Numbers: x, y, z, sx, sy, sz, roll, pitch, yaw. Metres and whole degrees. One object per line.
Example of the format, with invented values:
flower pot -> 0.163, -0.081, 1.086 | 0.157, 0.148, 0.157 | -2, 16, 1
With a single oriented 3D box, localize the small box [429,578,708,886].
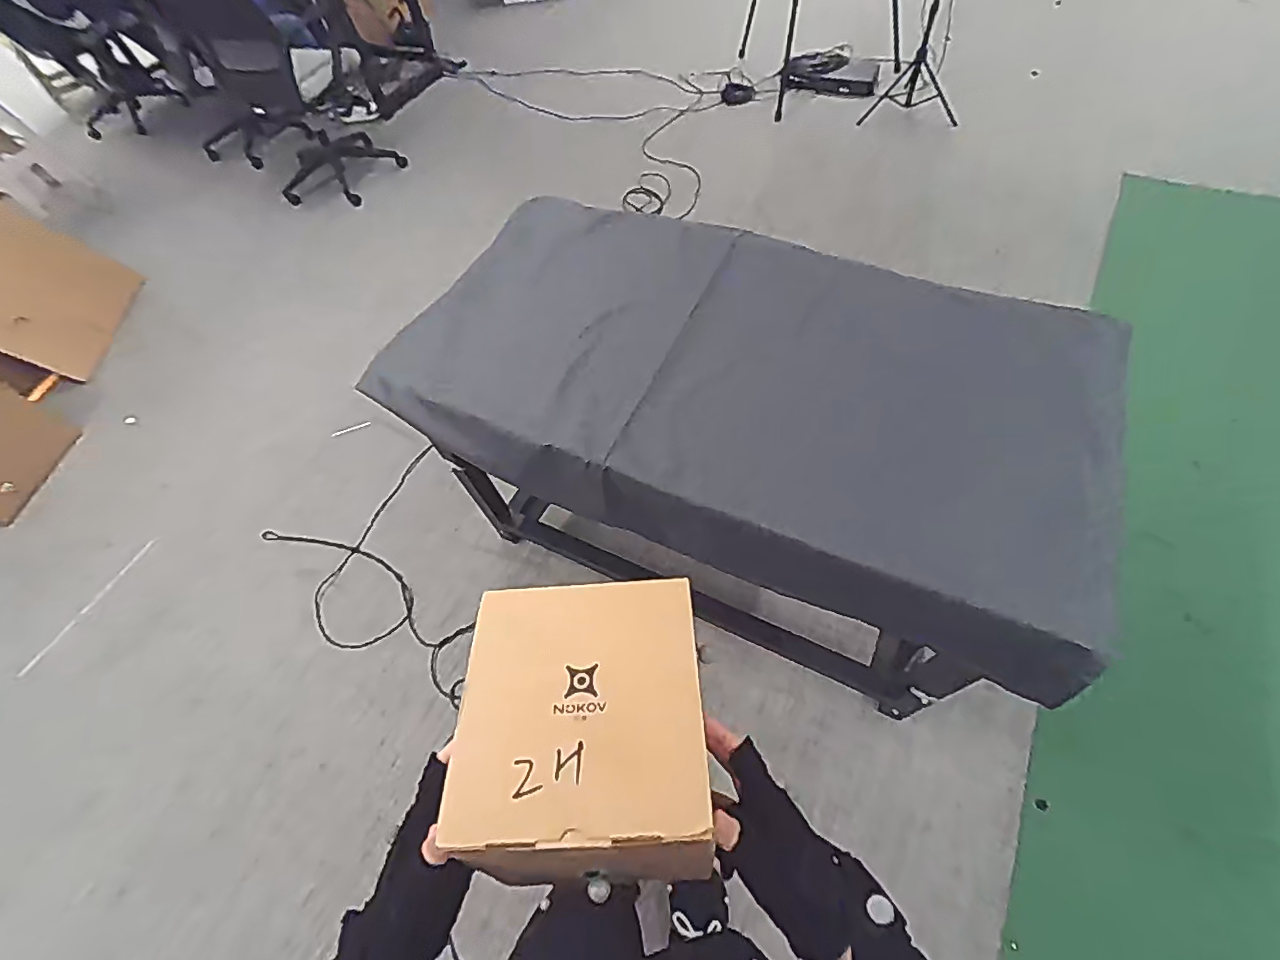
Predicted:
small box -> -0.038, 0.198, 0.426 | 0.168, 0.176, 0.179 | -4, 47, 3
